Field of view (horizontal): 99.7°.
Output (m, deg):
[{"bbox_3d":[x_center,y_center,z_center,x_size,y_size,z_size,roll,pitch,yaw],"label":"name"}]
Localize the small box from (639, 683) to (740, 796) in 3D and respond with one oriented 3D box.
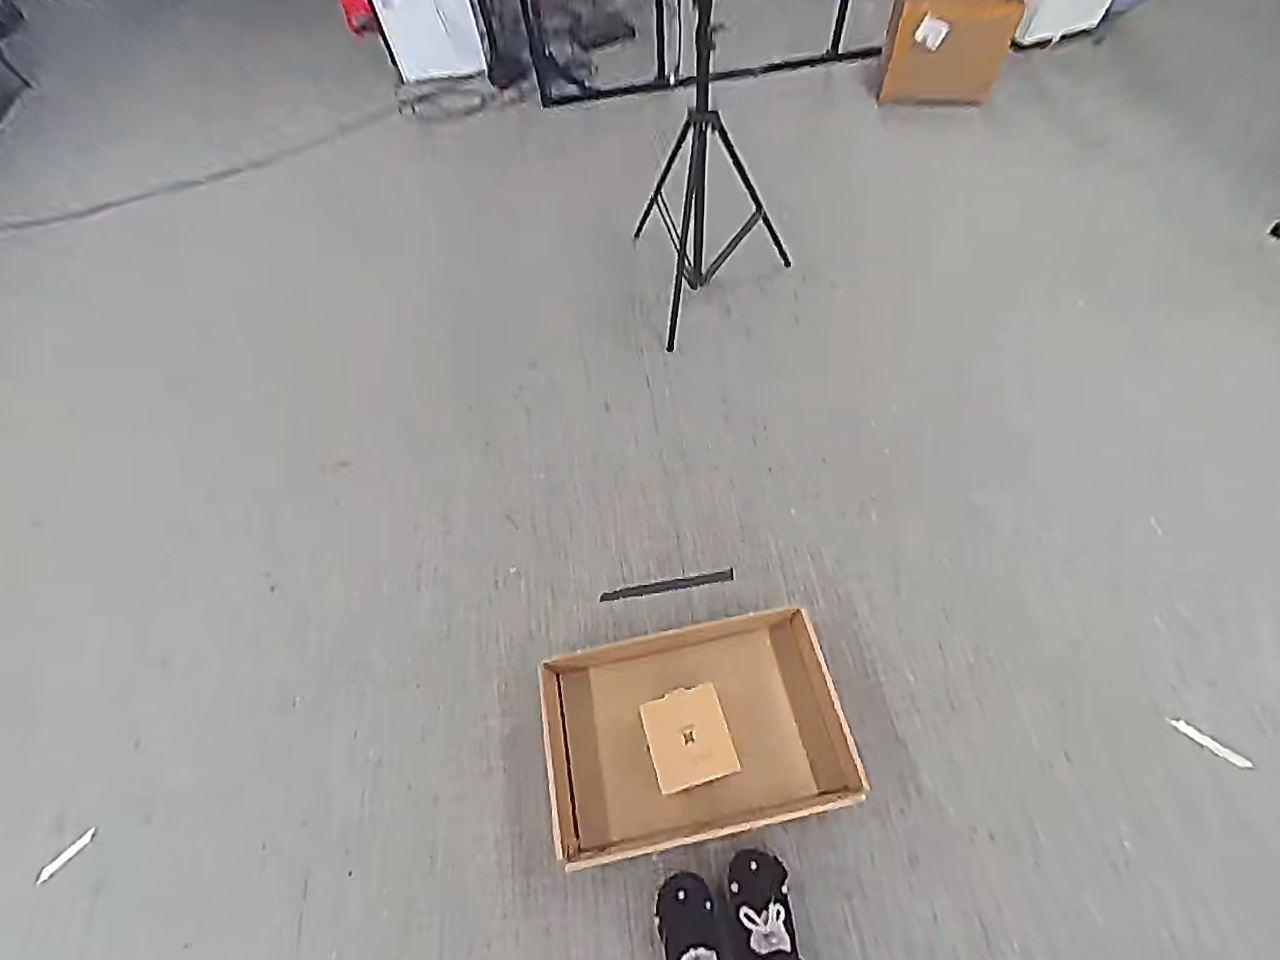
[{"bbox_3d":[0.103,0.562,1.167,0.168,0.176,0.179,-17,62,-4],"label":"small box"}]
